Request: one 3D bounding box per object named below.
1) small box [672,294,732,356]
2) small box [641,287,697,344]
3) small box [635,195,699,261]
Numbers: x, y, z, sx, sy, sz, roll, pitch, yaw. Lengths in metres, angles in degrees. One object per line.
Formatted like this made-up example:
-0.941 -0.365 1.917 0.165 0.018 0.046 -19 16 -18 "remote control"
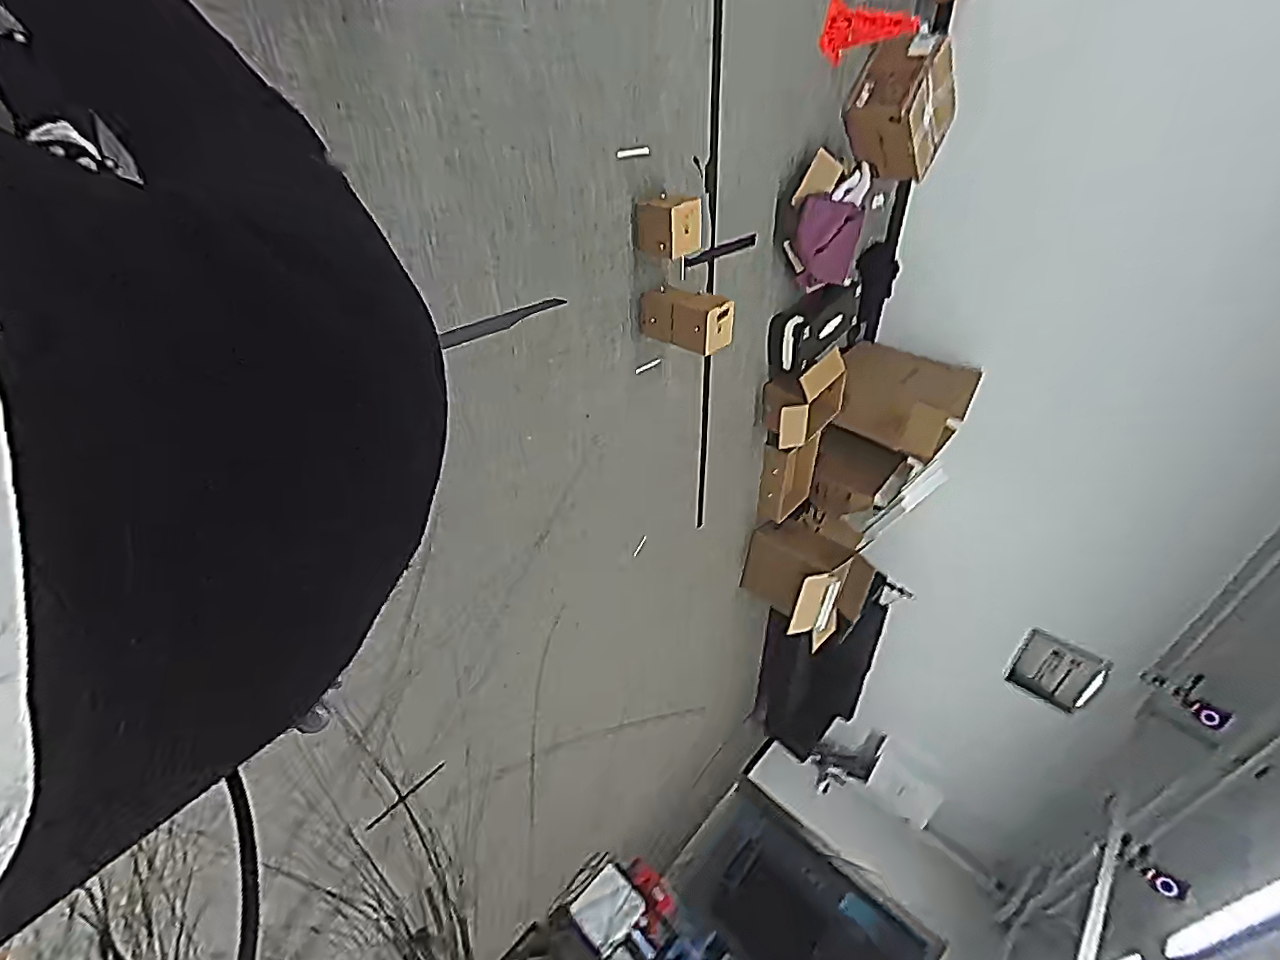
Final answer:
0.235 -0.604 2.081 0.168 0.176 0.179 -34 138 -34 "small box"
0.115 -0.666 2.177 0.179 0.176 0.168 -32 136 -34 "small box"
0.099 -0.923 1.972 0.168 0.176 0.179 -36 138 -32 "small box"
